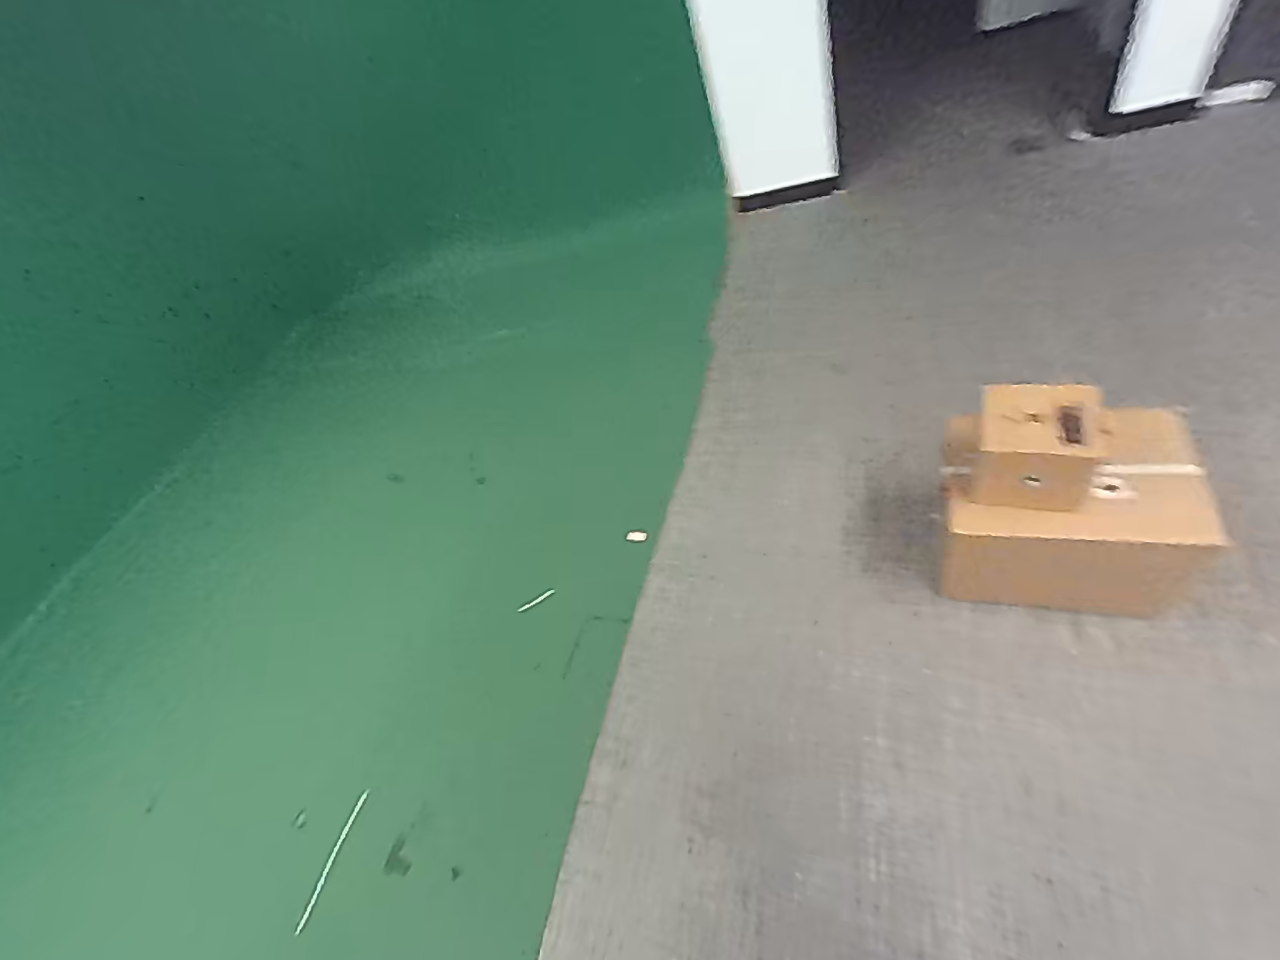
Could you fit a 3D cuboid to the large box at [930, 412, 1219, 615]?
[{"bbox_3d":[0.877,0.076,1.178,0.408,0.320,0.320,1,55,24],"label":"large box"}]
